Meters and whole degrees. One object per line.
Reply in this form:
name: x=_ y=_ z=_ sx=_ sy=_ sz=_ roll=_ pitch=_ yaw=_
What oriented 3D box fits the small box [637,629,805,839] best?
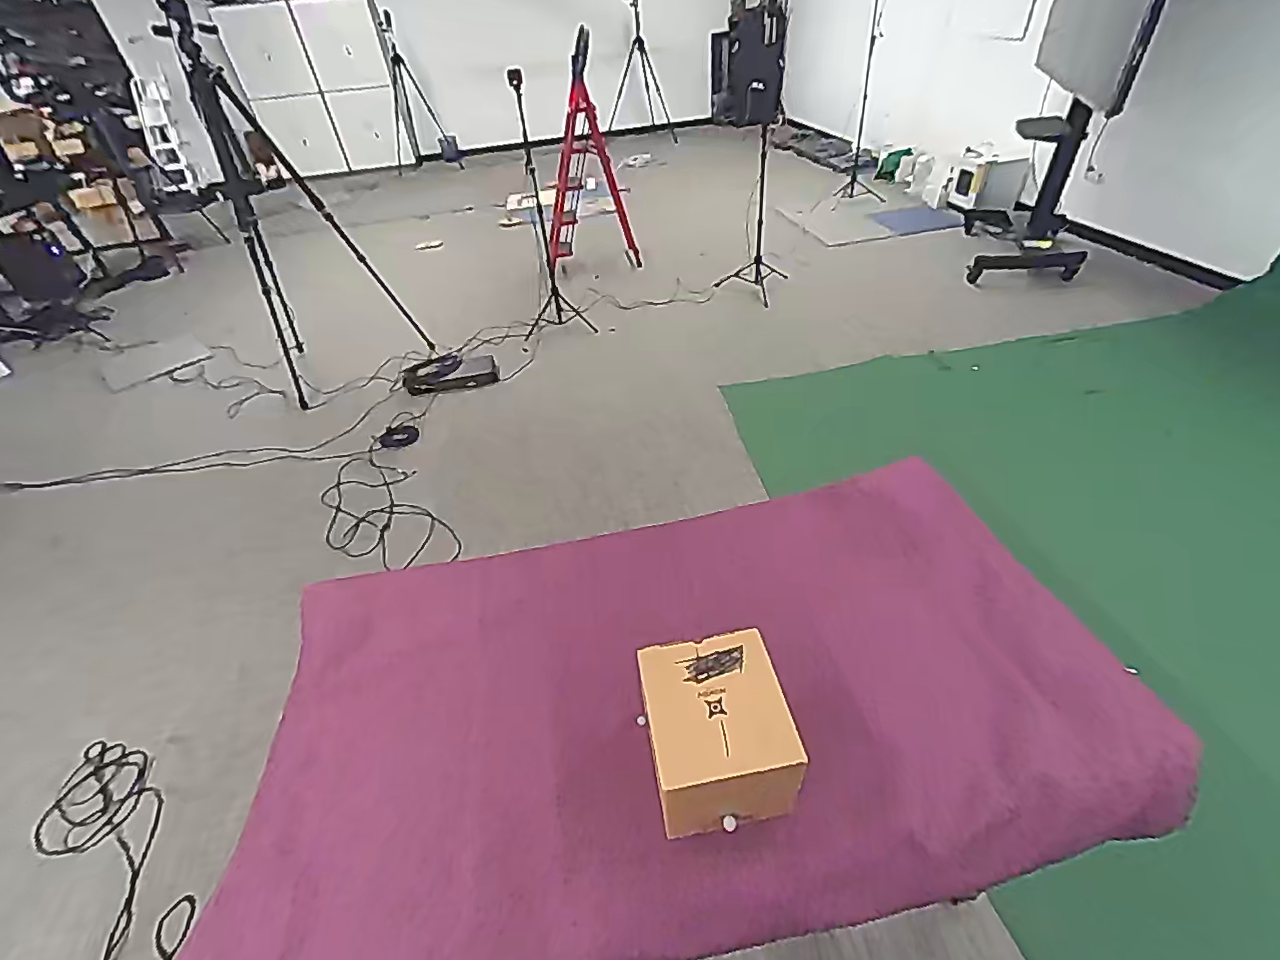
small box: x=0.092 y=0.321 z=0.690 sx=0.168 sy=0.176 sz=0.179 roll=-10 pitch=41 yaw=-3
